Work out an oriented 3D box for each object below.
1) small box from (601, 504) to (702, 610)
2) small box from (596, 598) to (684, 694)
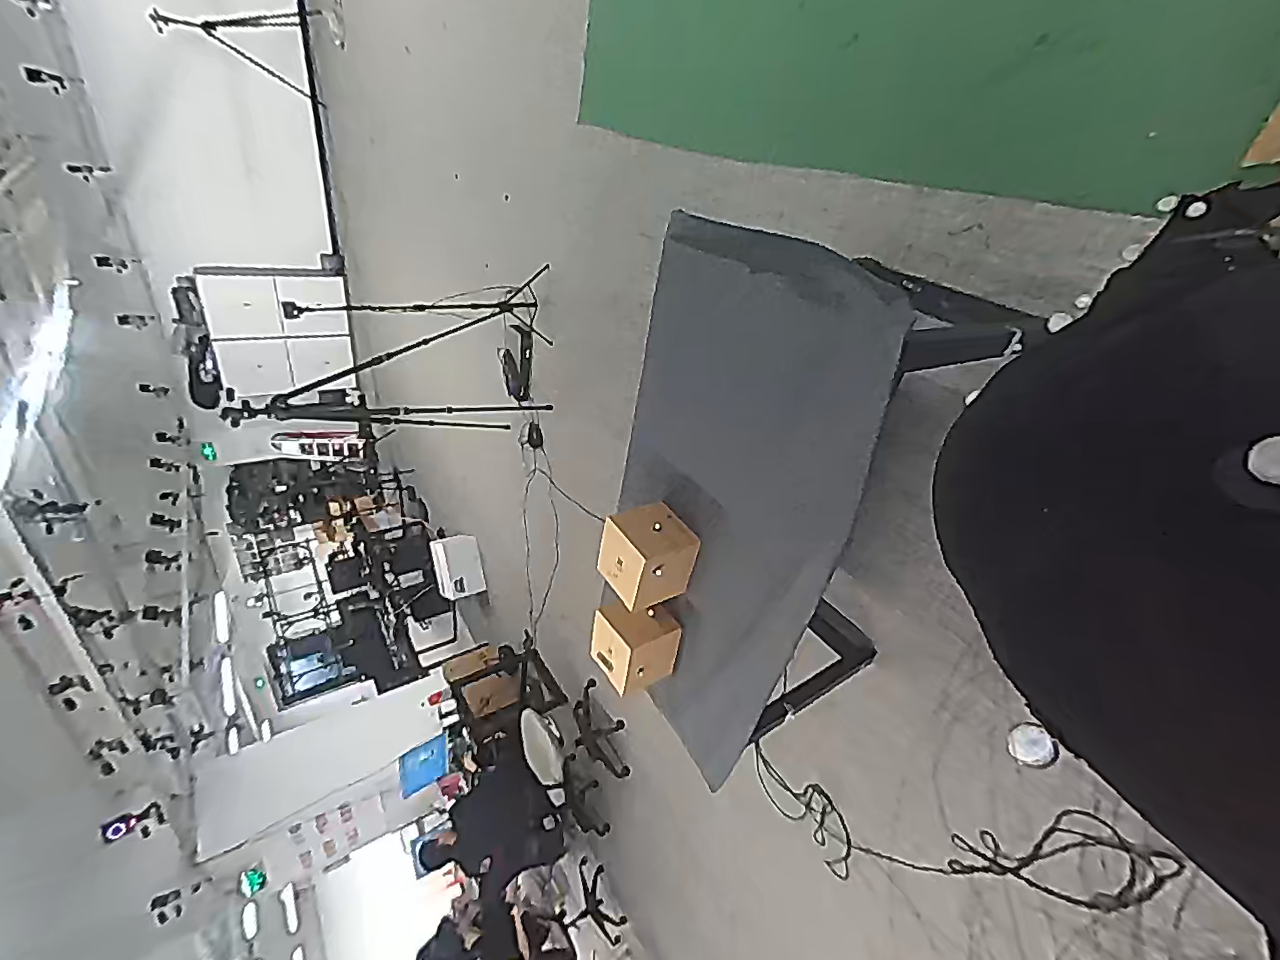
[{"bbox_3d":[0.029,0.180,1.322,0.168,0.176,0.179,45,136,39],"label":"small box"},{"bbox_3d":[-0.001,0.431,1.457,0.168,0.176,0.179,39,131,43],"label":"small box"}]
